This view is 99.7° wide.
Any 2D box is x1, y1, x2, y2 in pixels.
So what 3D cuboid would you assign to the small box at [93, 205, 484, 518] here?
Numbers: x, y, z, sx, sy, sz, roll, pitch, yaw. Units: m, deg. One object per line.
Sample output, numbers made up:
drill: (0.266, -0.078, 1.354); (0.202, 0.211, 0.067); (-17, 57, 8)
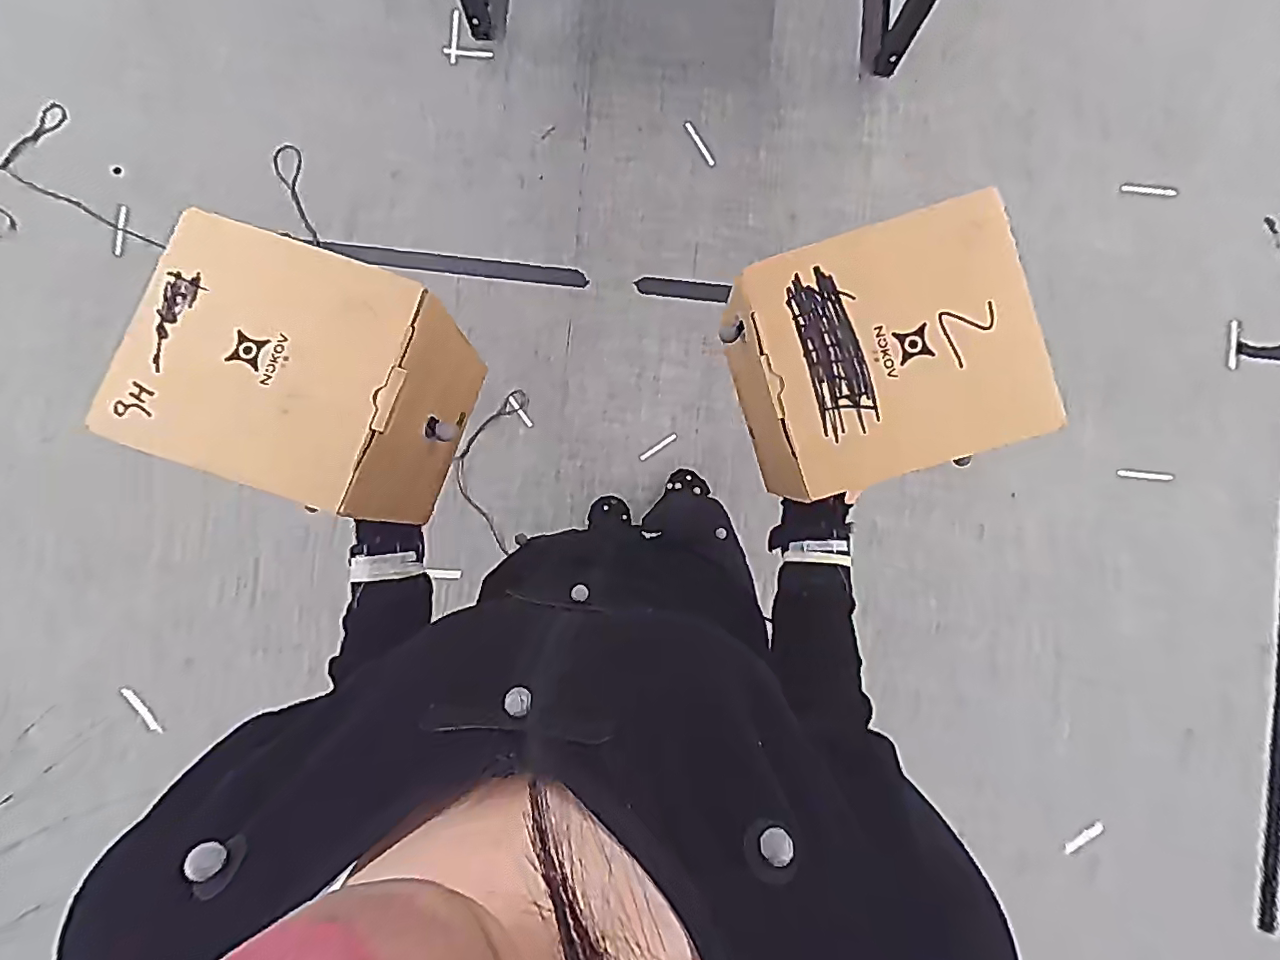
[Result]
small box: (-0.245, -0.073, 0.434); (0.179, 0.176, 0.168); (19, 82, -1)
